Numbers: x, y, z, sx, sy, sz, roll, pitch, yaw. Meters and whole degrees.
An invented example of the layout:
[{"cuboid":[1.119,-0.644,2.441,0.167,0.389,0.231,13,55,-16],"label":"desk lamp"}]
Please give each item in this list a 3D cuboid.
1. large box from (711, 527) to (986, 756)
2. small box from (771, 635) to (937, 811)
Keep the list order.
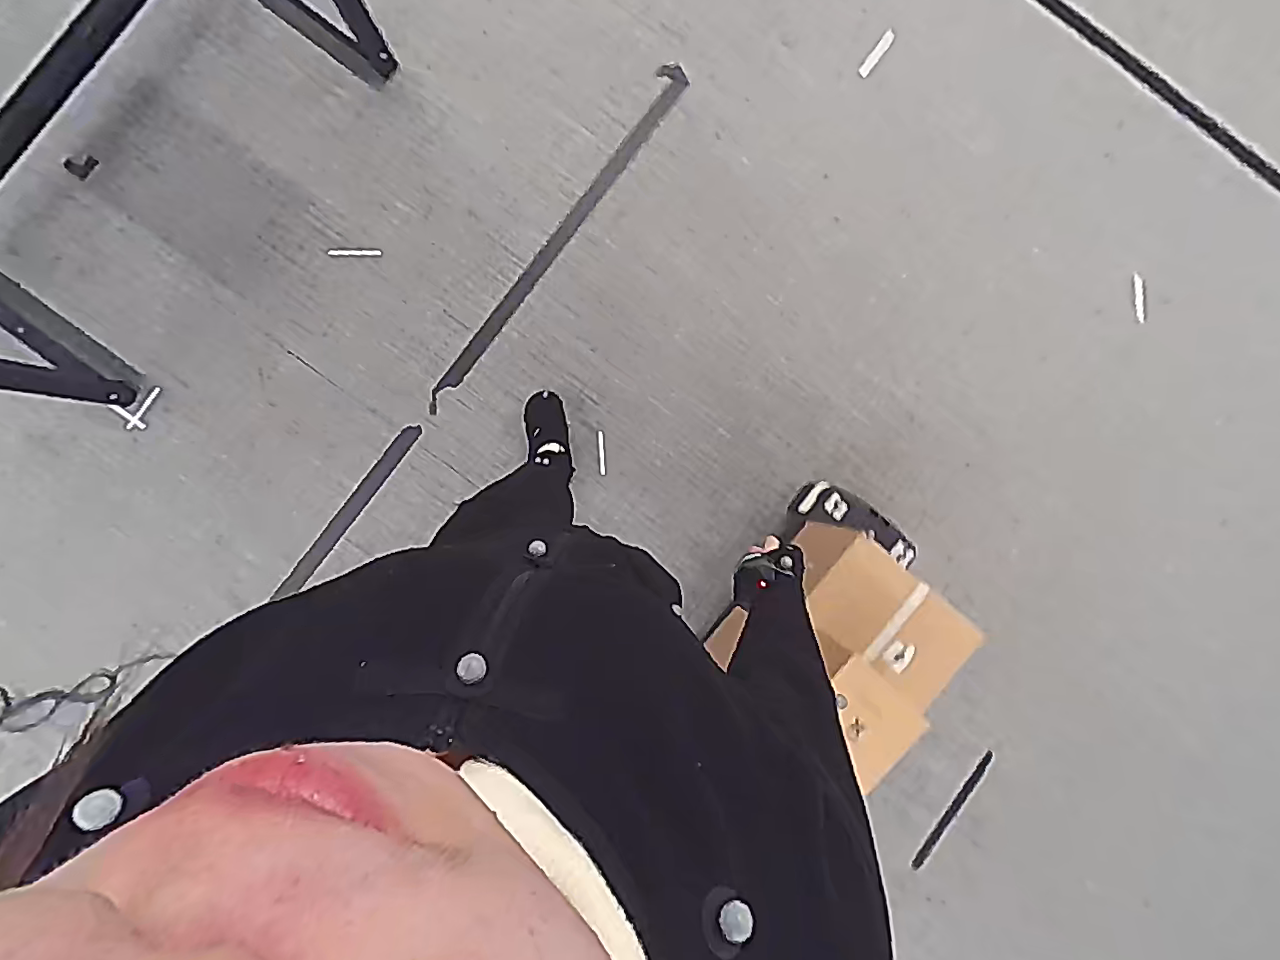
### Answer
[{"cuboid":[0.408,0.353,1.156,0.320,0.320,0.408,40,88,-1],"label":"large box"},{"cuboid":[0.341,0.394,0.908,0.168,0.176,0.179,44,88,0],"label":"small box"}]
